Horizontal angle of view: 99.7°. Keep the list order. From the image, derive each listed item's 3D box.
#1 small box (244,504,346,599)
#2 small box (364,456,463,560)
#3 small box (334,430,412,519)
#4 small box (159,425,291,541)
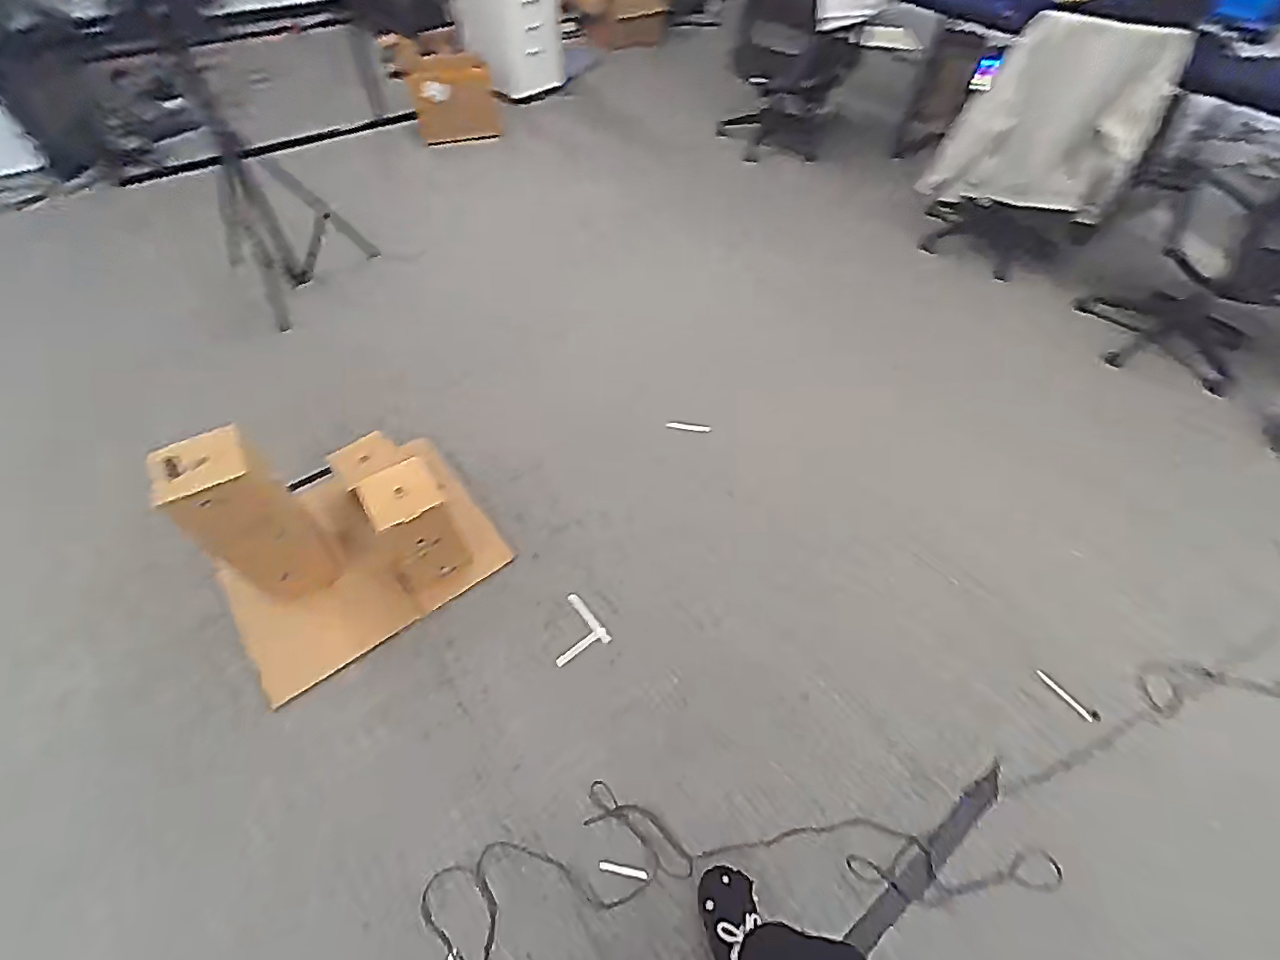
[{"bbox_3d":[-0.955,0.203,1.504,0.179,0.176,0.168,-24,59,-17],"label":"small box"},{"bbox_3d":[-0.585,0.076,1.409,0.168,0.176,0.179,-28,61,-20],"label":"small box"},{"bbox_3d":[-0.799,-0.016,1.673,0.179,0.176,0.168,-36,62,-24],"label":"small box"},{"bbox_3d":[-0.943,0.011,1.237,0.179,0.176,0.168,-25,59,-19],"label":"small box"}]
